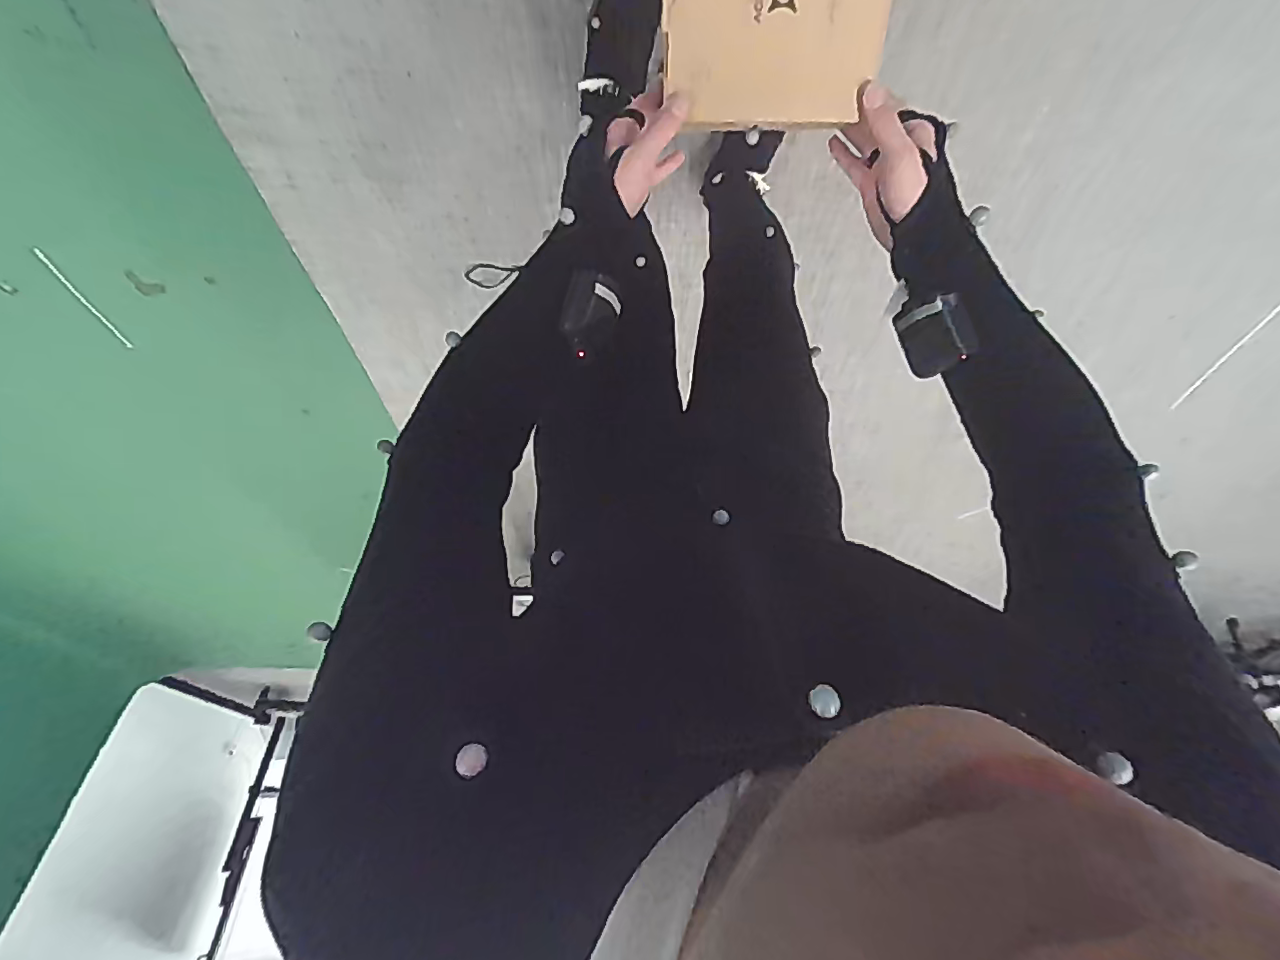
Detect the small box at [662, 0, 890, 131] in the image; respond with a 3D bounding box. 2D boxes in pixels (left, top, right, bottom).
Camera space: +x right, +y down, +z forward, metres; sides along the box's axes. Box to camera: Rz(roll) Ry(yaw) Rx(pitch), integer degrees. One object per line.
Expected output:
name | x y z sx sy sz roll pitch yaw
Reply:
small box | 0.110 -0.417 0.488 0.179 0.176 0.168 1 121 1
